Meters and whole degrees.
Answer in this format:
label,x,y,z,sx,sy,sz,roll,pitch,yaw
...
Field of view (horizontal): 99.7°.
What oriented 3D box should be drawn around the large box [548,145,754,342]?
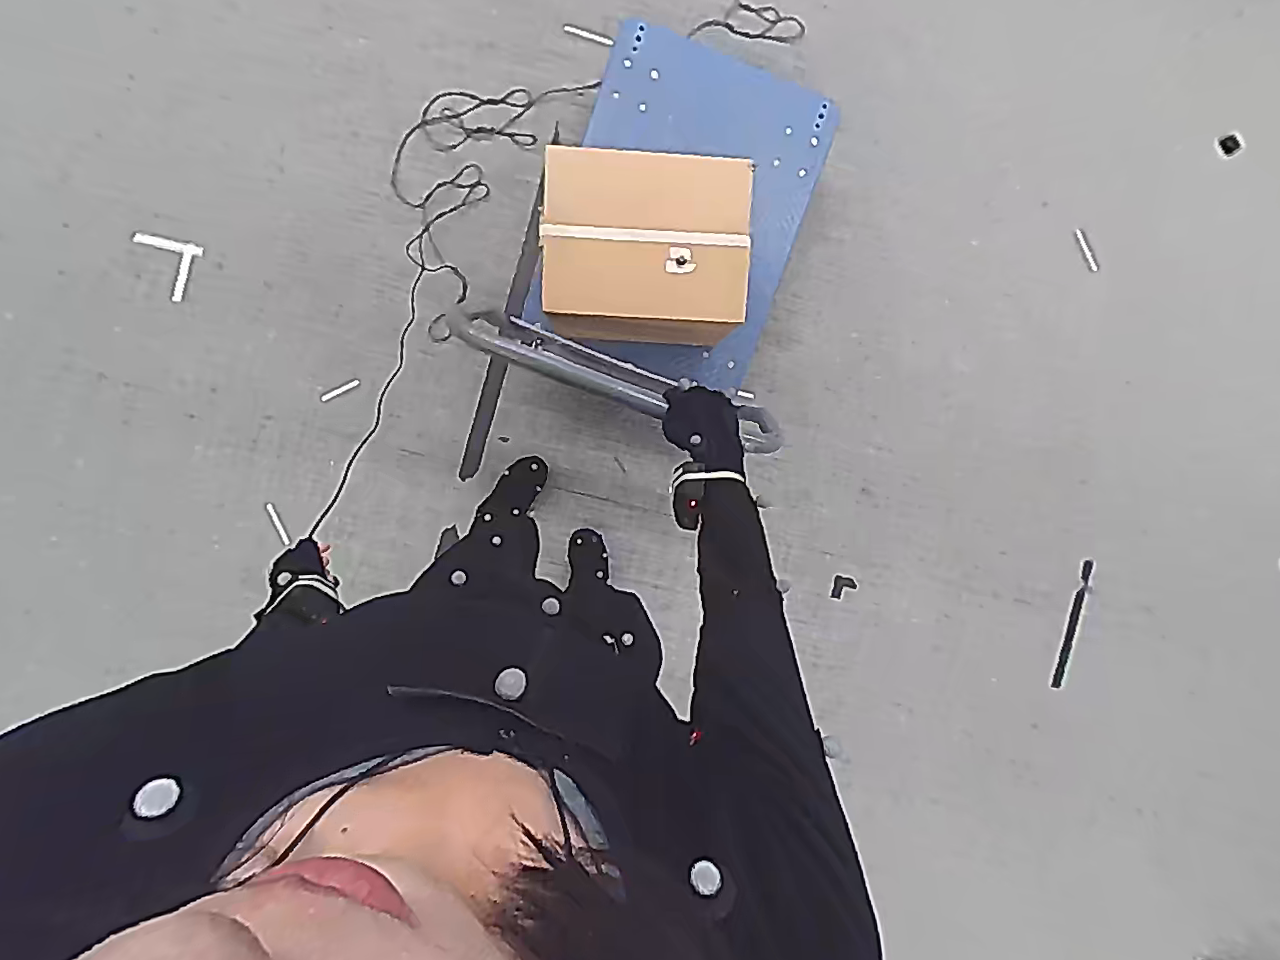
label,x,y,z,sx,sy,sz,roll,pitch,yaw
large box,0.010,-0.494,1.202,0.408,0.320,0.320,2,96,-4
